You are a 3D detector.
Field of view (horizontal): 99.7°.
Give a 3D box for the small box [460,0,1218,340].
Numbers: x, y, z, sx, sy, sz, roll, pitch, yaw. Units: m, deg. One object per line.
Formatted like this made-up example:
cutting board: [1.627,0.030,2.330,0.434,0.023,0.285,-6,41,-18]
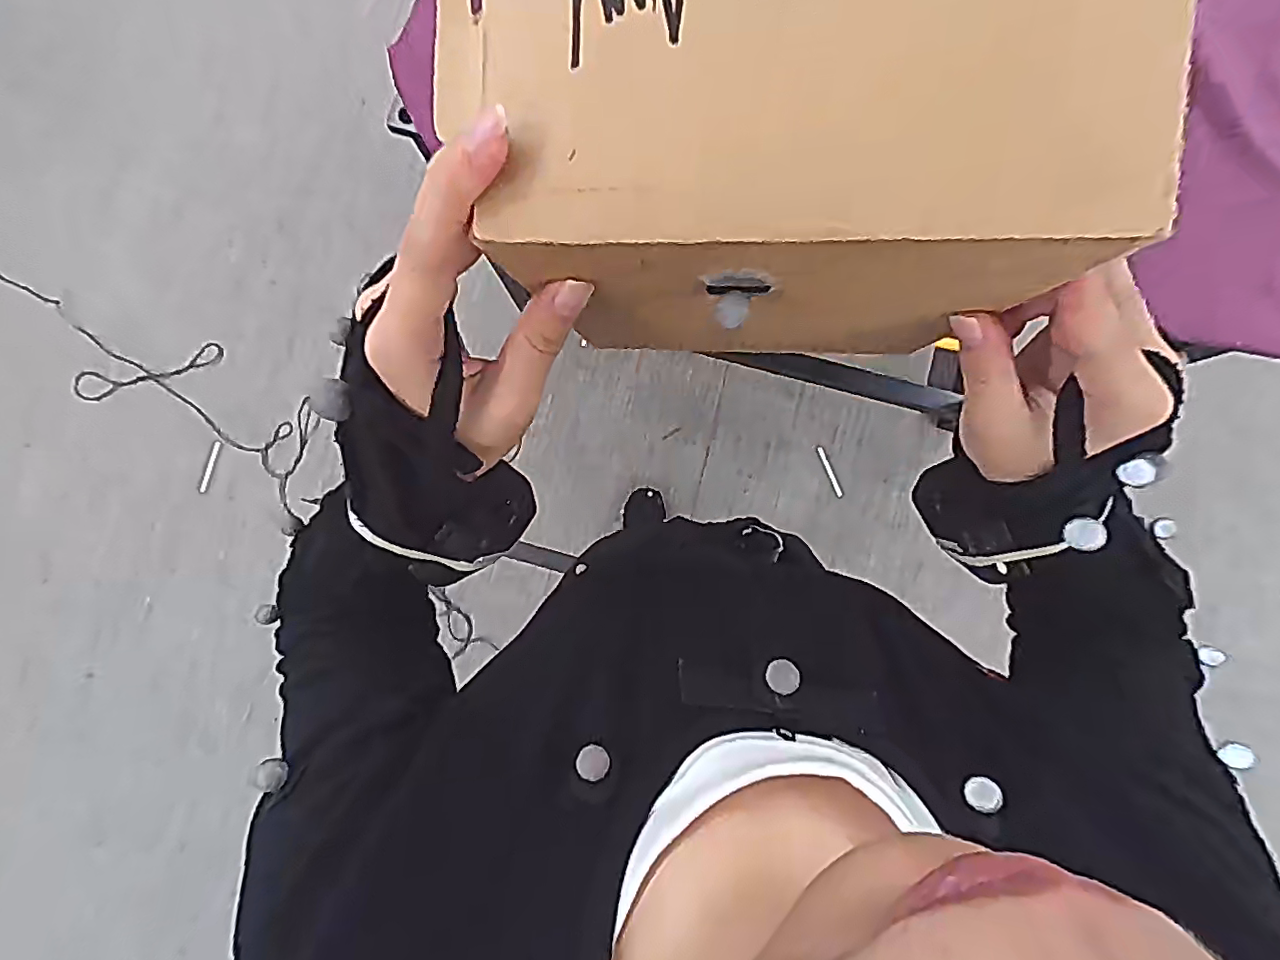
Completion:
small box: [0.052,-0.151,0.205,0.179,0.176,0.168,3,95,6]
